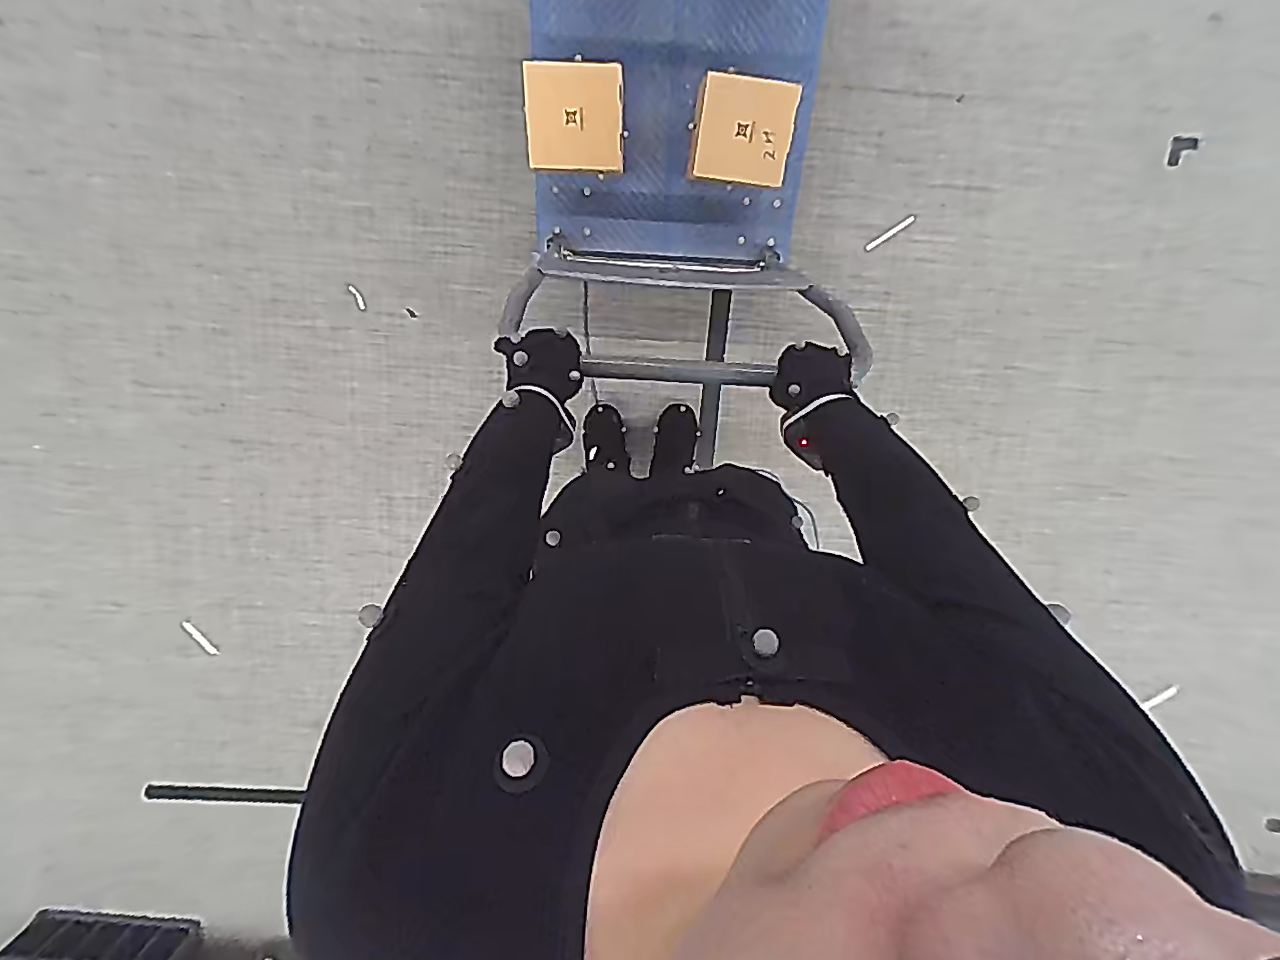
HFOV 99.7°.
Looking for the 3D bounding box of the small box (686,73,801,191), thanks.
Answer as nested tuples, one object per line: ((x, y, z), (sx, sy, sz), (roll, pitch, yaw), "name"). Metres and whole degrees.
((0.192, -0.675, 1.068), (0.179, 0.176, 0.168), (6, 117, -4), "small box")

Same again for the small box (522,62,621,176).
((-0.125, -0.692, 1.054), (0.179, 0.176, 0.168), (-1, 116, -3), "small box")
